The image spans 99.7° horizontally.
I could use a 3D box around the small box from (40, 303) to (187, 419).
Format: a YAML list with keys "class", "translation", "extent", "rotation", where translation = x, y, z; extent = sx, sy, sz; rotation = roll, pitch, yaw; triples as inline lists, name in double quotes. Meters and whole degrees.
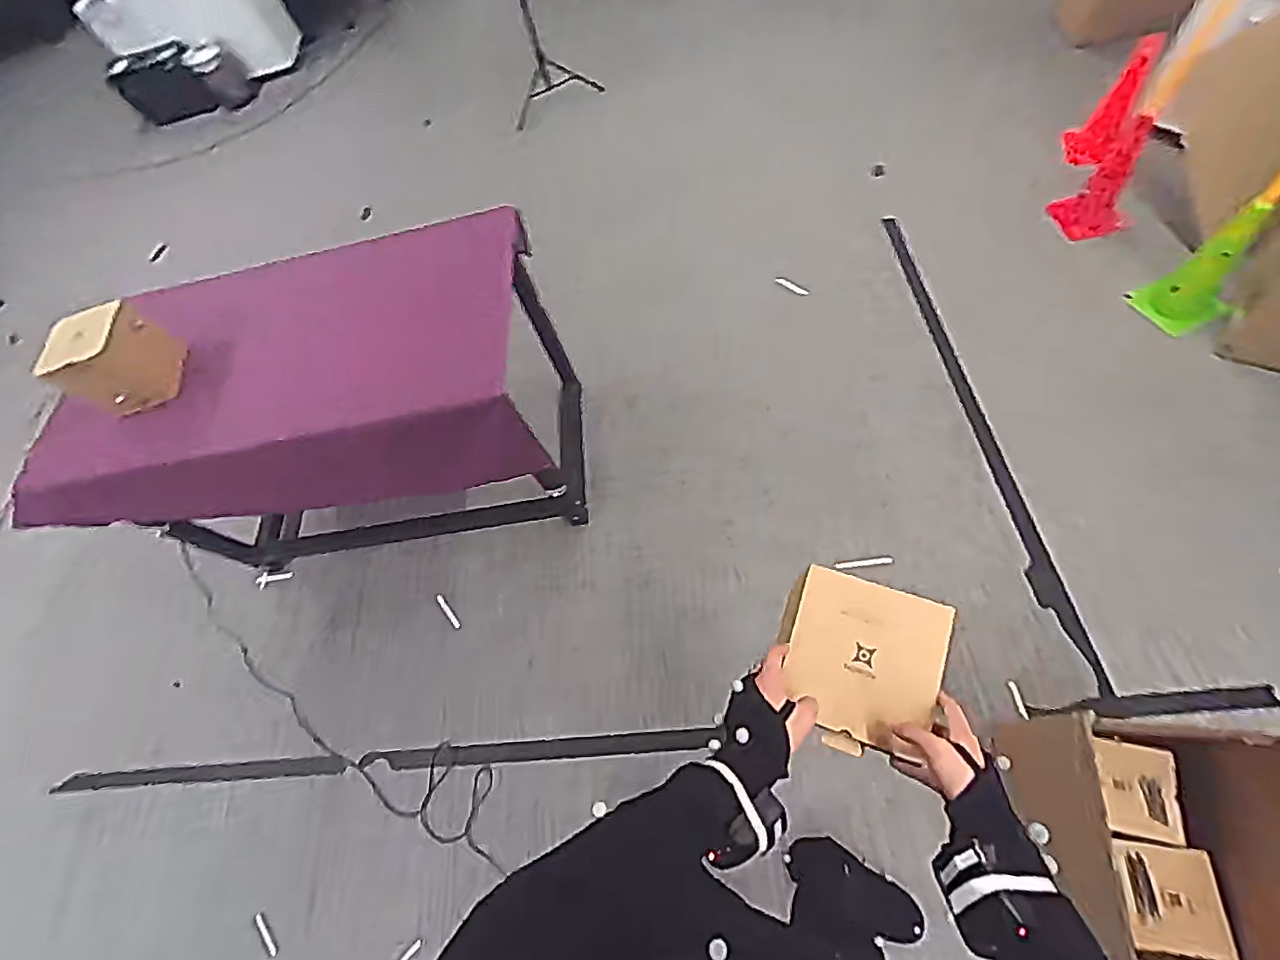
- class: "small box"
  translation: [-1.214, -0.273, 1.266]
  extent: [0.168, 0.176, 0.179]
  rotation: [-18, 61, 4]

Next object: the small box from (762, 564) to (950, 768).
- class: "small box"
  translation: [0.255, 0.224, 0.675]
  extent: [0.168, 0.176, 0.179]
  rotation: [16, 75, 13]
